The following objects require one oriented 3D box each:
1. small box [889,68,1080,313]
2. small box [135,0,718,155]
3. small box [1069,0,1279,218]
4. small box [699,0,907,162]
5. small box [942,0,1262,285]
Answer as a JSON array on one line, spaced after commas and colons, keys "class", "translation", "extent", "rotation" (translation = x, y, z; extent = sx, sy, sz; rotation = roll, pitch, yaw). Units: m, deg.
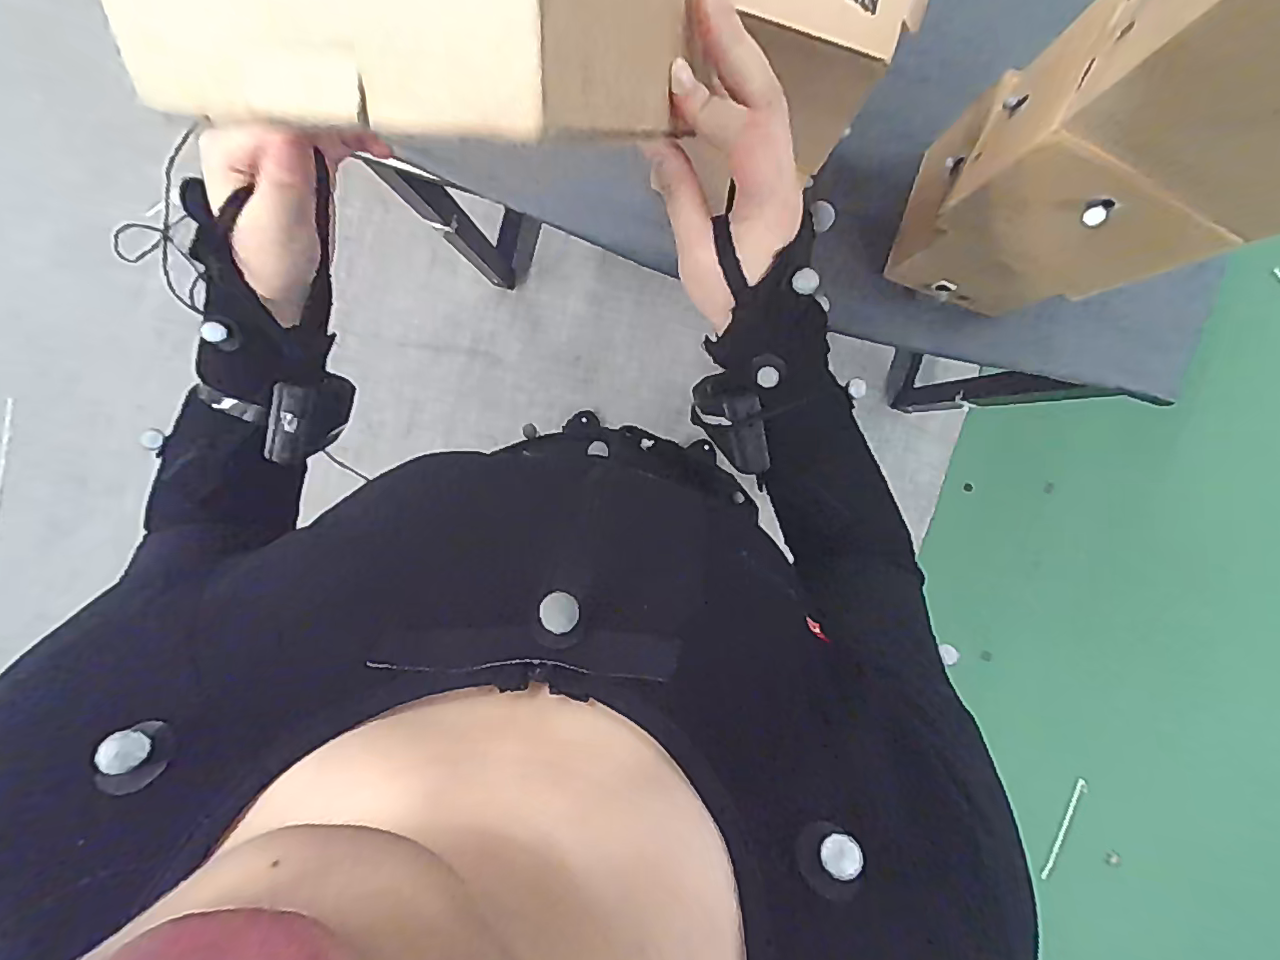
[{"class": "small box", "translation": [0.425, -0.320, 0.636], "extent": [0.168, 0.176, 0.179], "rotation": [18, 95, 0]}, {"class": "small box", "translation": [-0.070, -0.223, 0.191], "extent": [0.168, 0.179, 0.176], "rotation": [15, 128, 17]}, {"class": "small box", "translation": [0.419, -0.284, 0.311], "extent": [0.179, 0.176, 0.168], "rotation": [30, 93, 0]}, {"class": "small box", "translation": [0.122, -0.413, 0.467], "extent": [0.179, 0.176, 0.168], "rotation": [18, 94, 0]}, {"class": "small box", "translation": [0.418, -0.294, 0.475], "extent": [0.179, 0.176, 0.168], "rotation": [29, 94, 0]}]
